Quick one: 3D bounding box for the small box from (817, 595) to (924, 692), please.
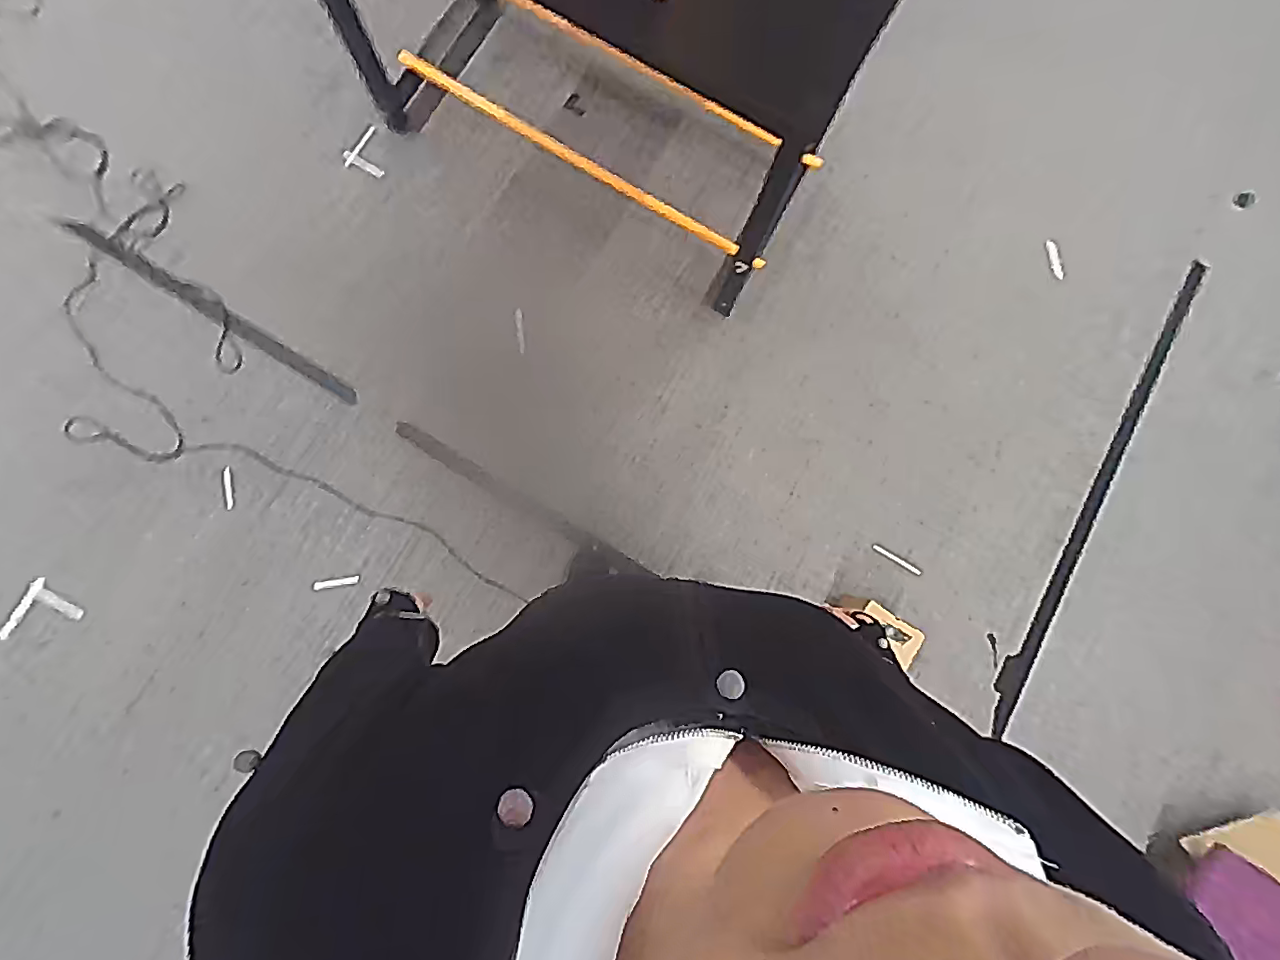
[{"bbox_3d":[0.597,0.420,1.430,0.168,0.176,0.179,34,83,2],"label":"small box"}]
